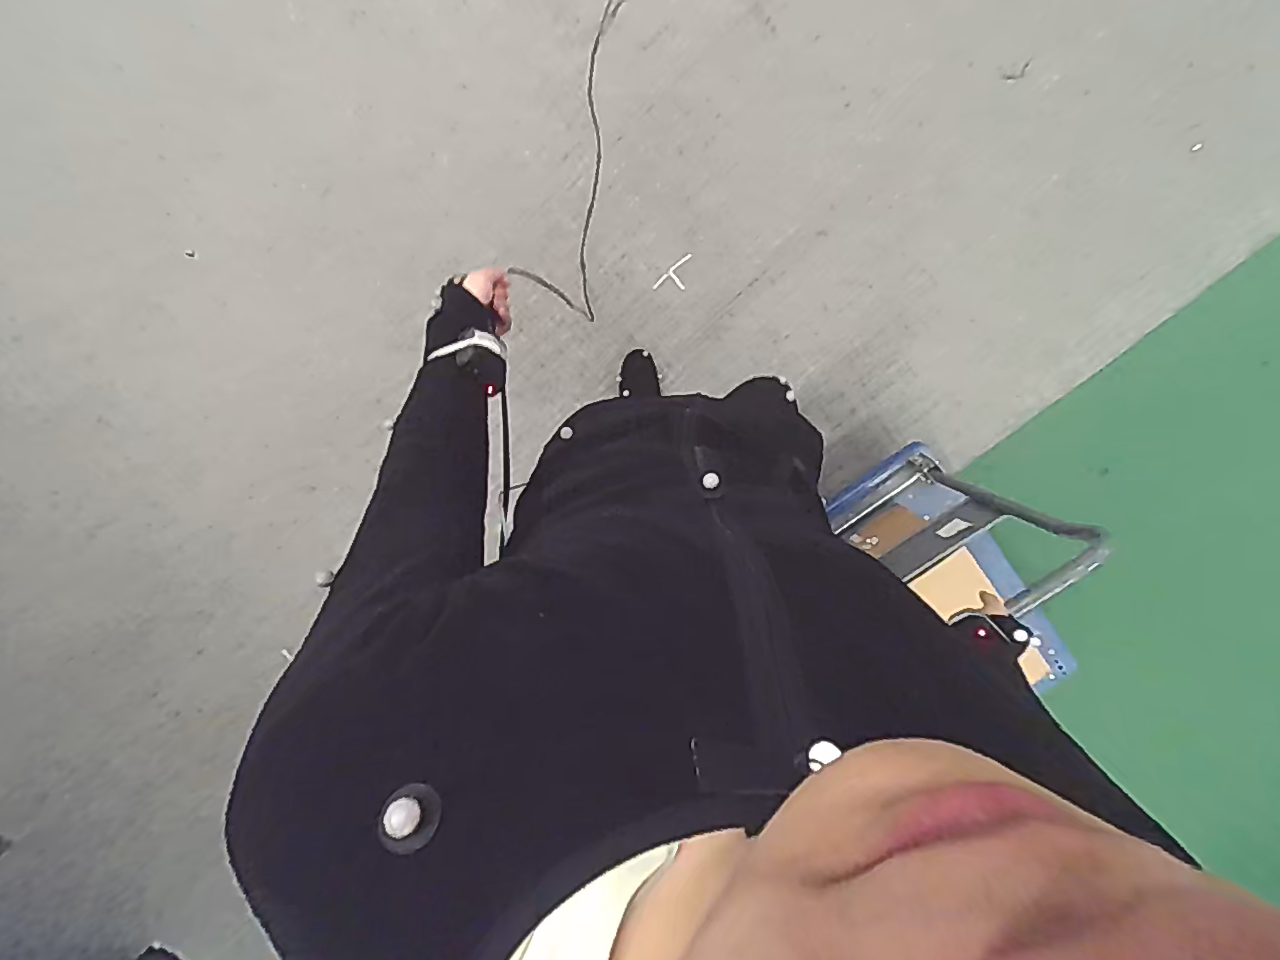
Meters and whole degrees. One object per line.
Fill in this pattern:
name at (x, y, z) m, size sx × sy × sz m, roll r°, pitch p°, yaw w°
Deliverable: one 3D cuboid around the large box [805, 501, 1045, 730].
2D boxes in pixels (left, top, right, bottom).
large box at (0.699, 0.327, 1.384) m, size 0.320 × 0.320 × 0.408 m, roll -38°, pitch 101°, yaw 10°
